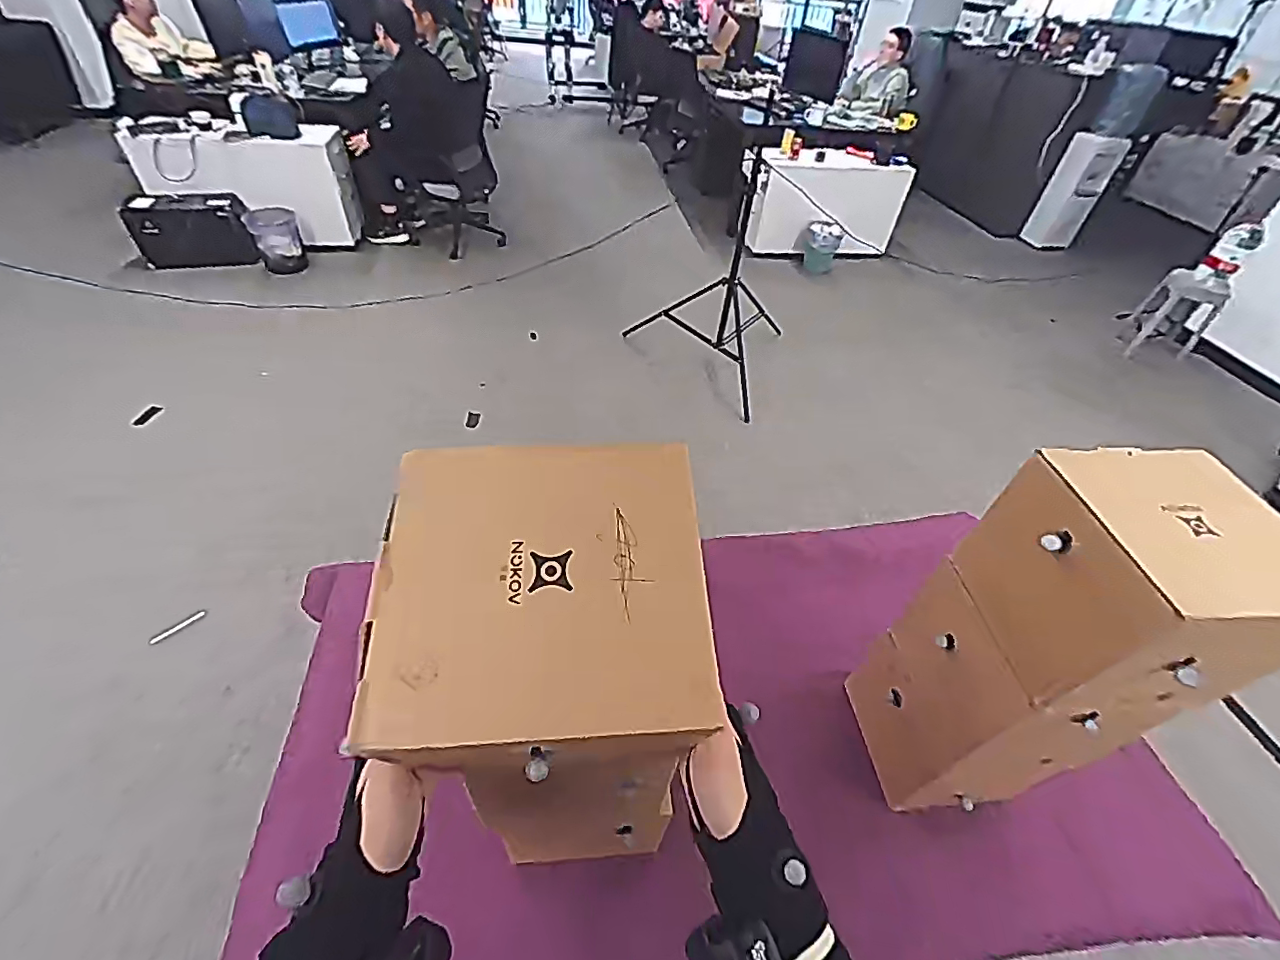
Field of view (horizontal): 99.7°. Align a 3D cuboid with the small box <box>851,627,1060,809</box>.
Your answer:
[{"bbox_3d":[0.410,0.314,0.724,0.168,0.176,0.179,-2,45,-7],"label":"small box"}]

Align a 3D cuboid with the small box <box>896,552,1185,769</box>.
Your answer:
[{"bbox_3d":[0.421,0.200,0.606,0.168,0.176,0.179,0,44,-5],"label":"small box"}]

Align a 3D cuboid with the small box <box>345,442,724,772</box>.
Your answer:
[{"bbox_3d":[-0.055,0.091,0.354,0.179,0.176,0.168,-2,60,-5],"label":"small box"}]

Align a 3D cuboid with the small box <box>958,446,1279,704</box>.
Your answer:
[{"bbox_3d":[0.435,0.089,0.488,0.168,0.176,0.179,0,44,-5],"label":"small box"}]

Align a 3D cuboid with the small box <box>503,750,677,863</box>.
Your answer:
[{"bbox_3d":[-0.061,0.340,0.649,0.179,0.176,0.168,-1,44,-6],"label":"small box"}]
